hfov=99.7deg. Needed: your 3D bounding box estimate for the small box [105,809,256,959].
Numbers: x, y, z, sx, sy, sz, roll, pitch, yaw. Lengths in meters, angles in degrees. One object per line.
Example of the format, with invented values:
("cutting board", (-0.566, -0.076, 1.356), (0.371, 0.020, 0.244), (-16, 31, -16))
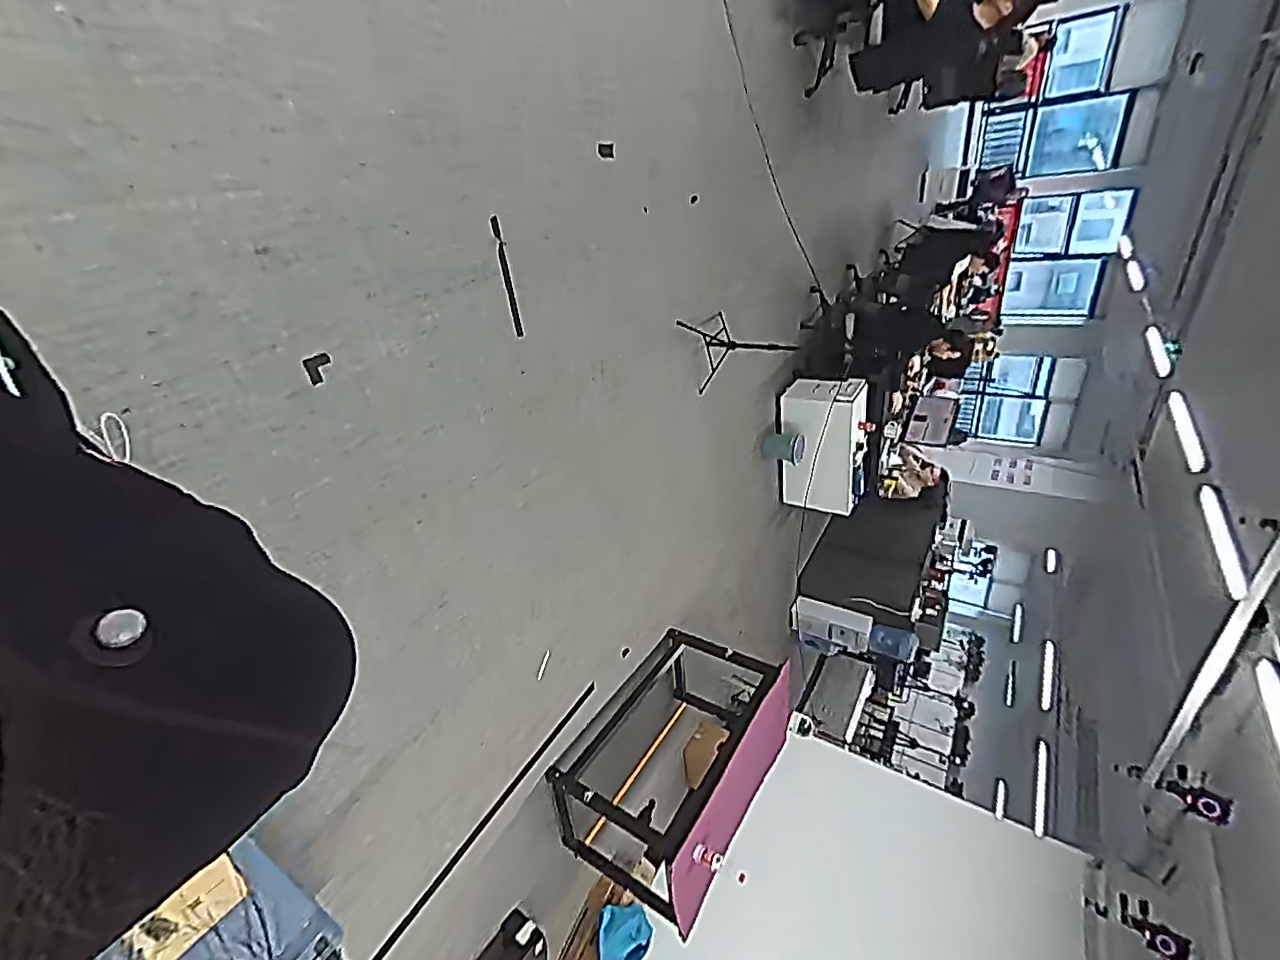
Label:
("small box", (-0.959, 0.841, 1.125), (0.179, 0.176, 0.168), (-38, 131, -46))
